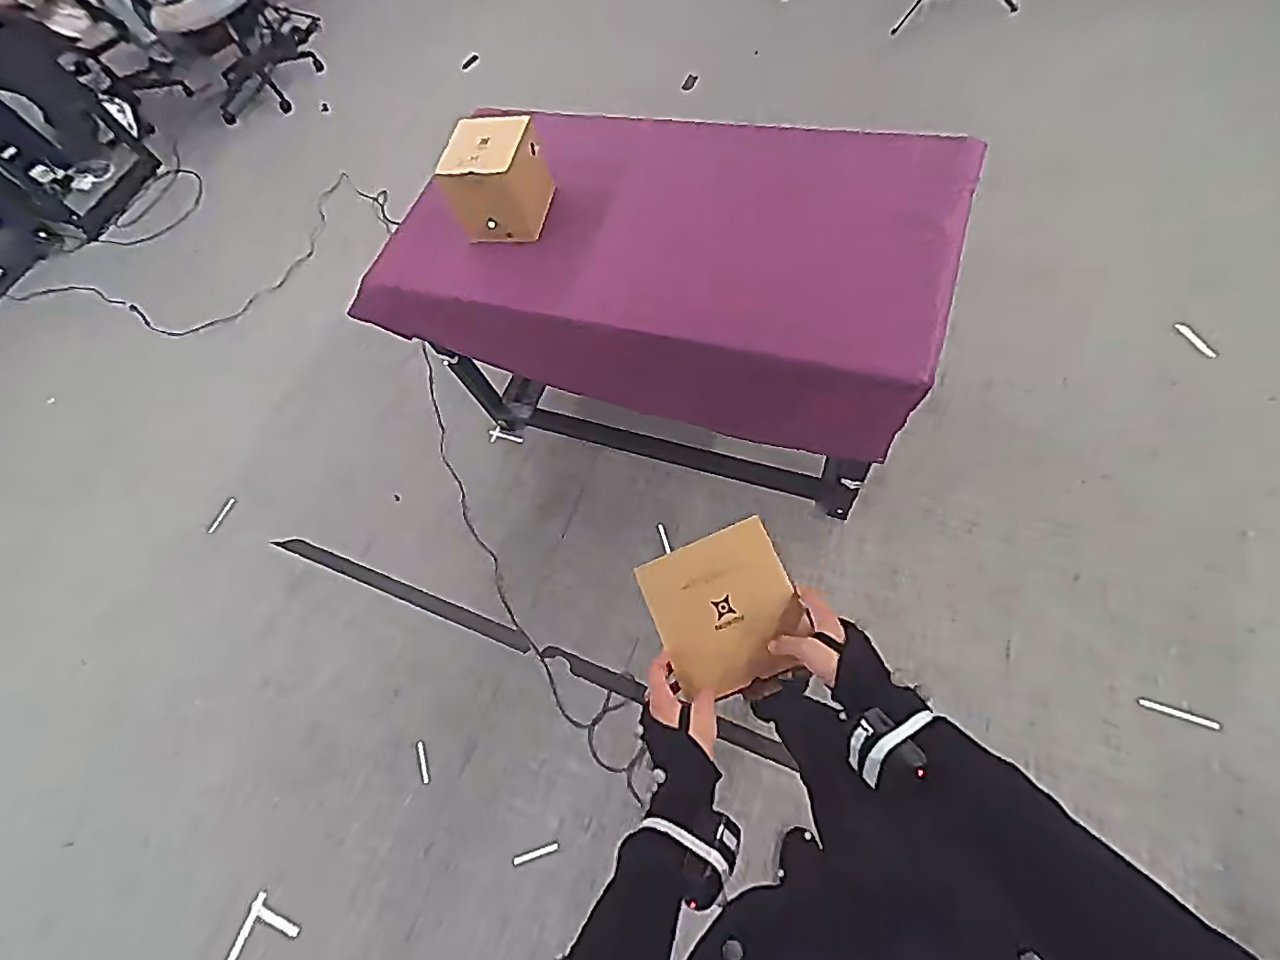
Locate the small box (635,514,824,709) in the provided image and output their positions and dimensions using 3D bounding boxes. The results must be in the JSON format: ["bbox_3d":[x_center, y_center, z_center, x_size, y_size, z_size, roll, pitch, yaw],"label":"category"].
[{"bbox_3d":[0.113,0.165,0.693,0.168,0.176,0.179,-24,72,4],"label":"small box"}]

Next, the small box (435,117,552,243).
[{"bbox_3d":[-0.303,-0.641,1.164,0.168,0.176,0.179,6,68,14],"label":"small box"}]
